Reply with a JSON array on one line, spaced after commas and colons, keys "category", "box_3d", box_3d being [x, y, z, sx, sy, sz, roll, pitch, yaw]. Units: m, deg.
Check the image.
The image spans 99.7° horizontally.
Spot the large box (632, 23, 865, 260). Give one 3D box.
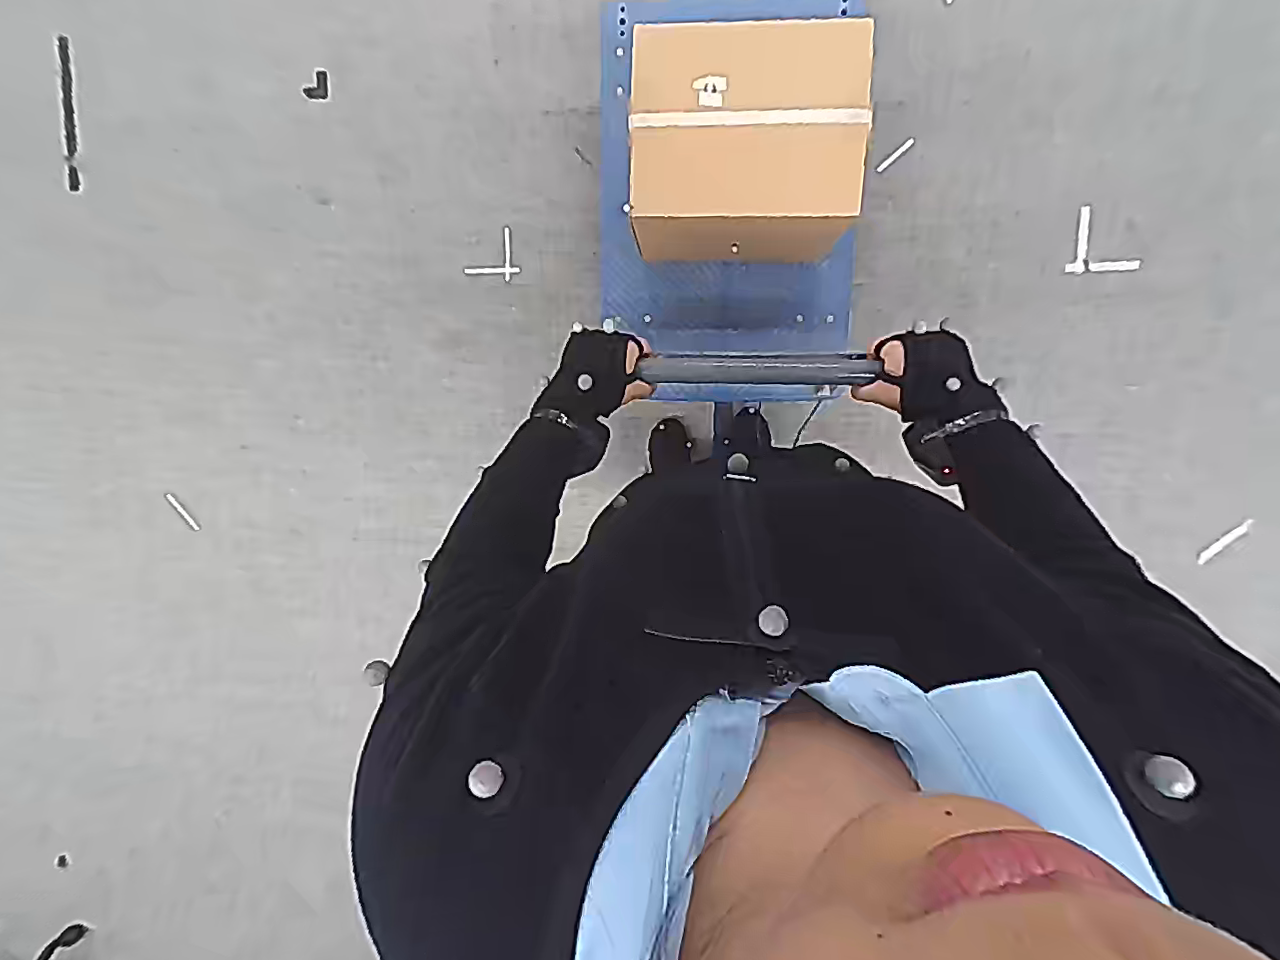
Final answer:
[{"category": "large box", "box_3d": [0.201, -0.646, 1.100, 0.408, 0.320, 0.320, 2, 97, 5]}]
